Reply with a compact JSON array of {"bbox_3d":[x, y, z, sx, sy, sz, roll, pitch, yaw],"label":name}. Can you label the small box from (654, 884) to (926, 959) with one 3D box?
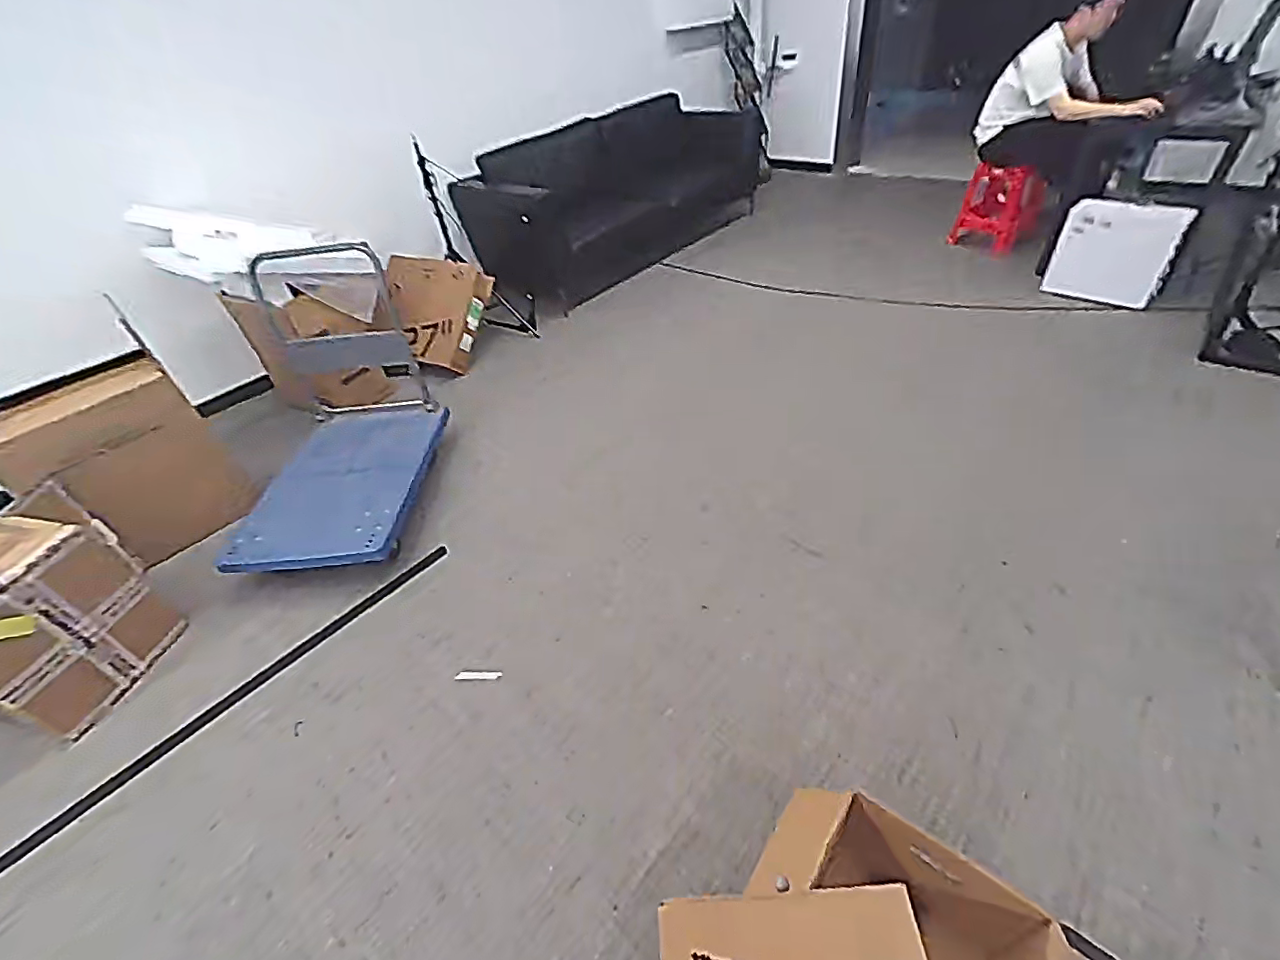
[{"bbox_3d":[0.111,0.400,0.383,0.179,0.176,0.168,-7,49,3],"label":"small box"}]
